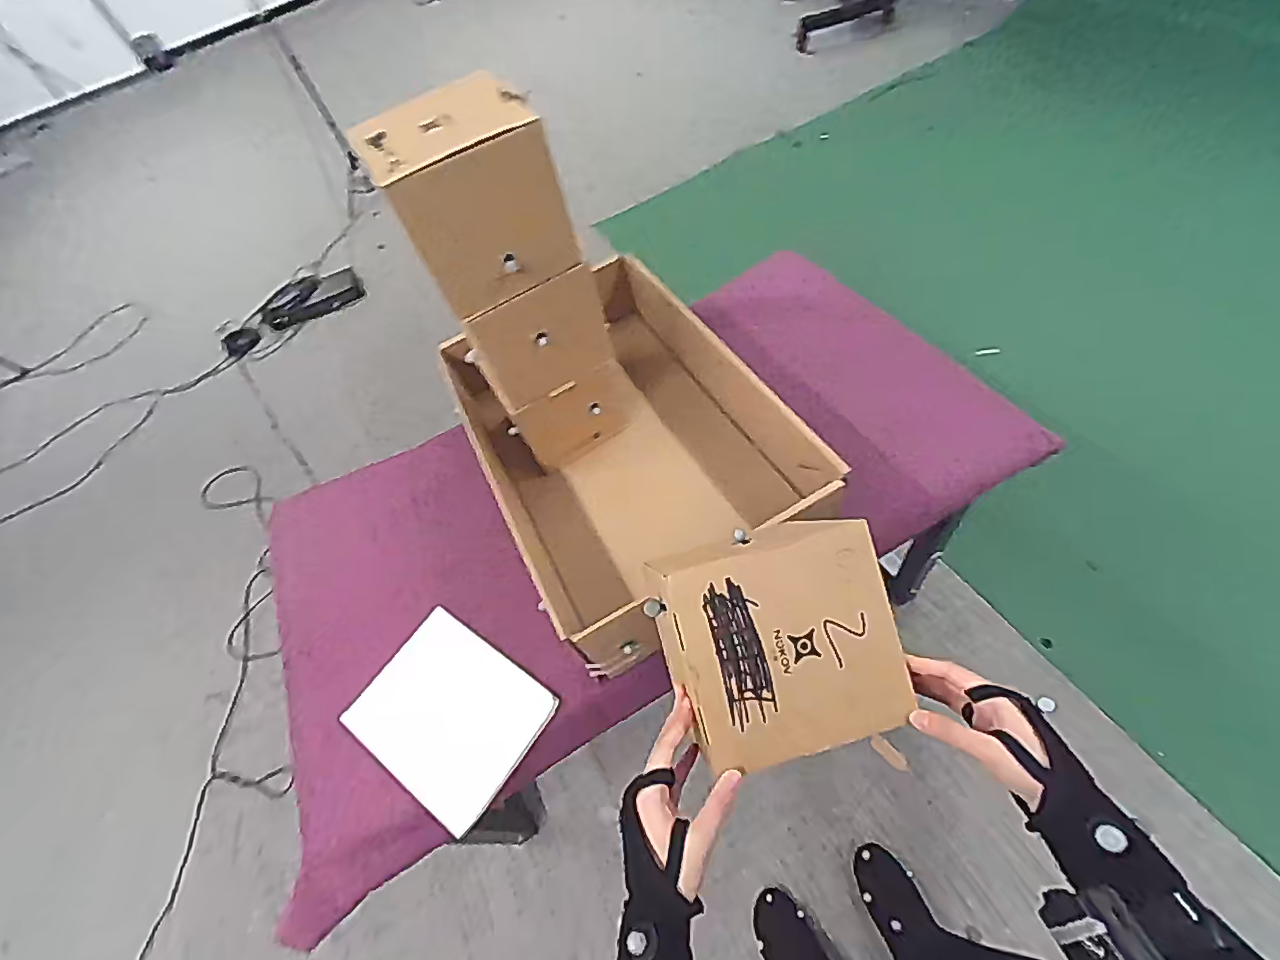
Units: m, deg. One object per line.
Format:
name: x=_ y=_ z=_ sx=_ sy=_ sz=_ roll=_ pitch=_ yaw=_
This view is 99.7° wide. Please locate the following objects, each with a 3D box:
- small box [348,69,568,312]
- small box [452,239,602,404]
small box: x=-0.199 y=-0.333 z=0.633 sx=0.179 sy=0.176 sz=0.168 roll=-29 pitch=56 yaw=-9
small box: x=-0.167 y=-0.244 z=0.766 sx=0.179 sy=0.176 sz=0.168 roll=-32 pitch=57 yaw=-9
